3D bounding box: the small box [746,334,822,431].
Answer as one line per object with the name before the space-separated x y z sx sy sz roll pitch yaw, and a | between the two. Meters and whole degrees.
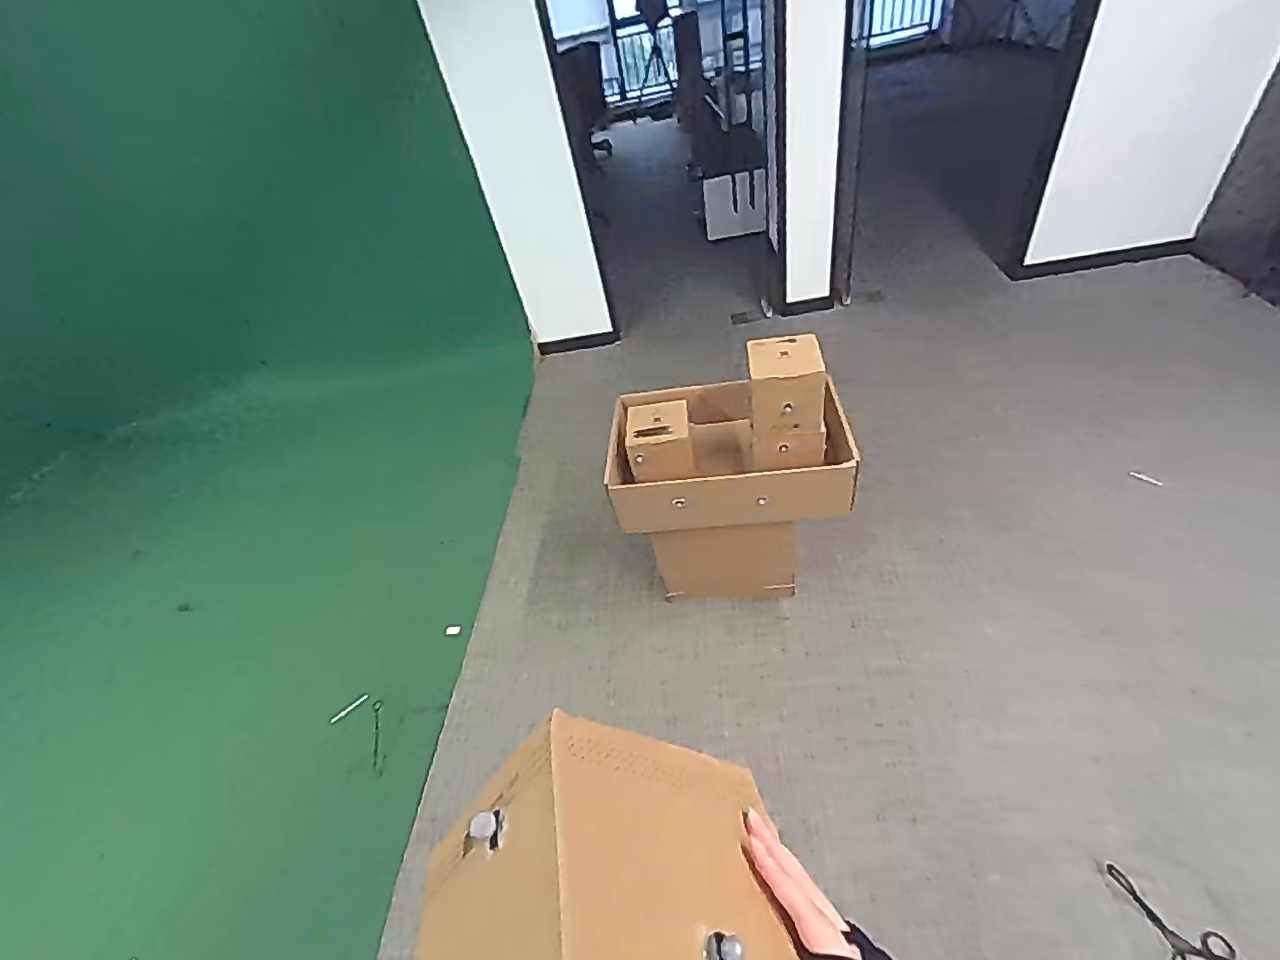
small box | 0.351 -0.233 1.329 0.168 0.176 0.179 -4 44 11
